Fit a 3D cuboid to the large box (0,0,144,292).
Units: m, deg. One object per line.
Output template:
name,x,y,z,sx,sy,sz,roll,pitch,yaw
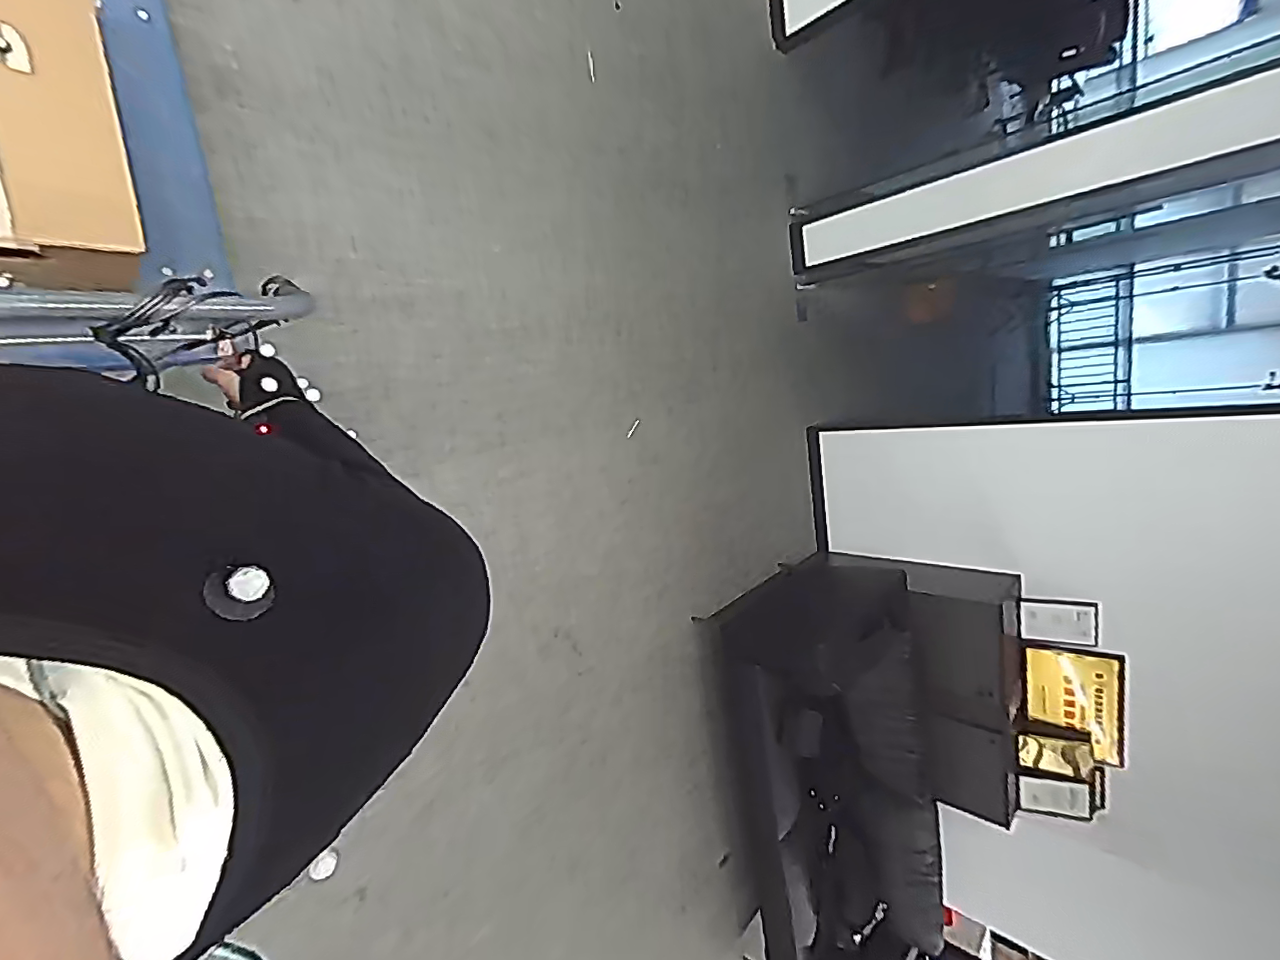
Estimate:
large box,-1.045,-0.540,0.859,0.320,0.320,0.408,-14,101,-44
